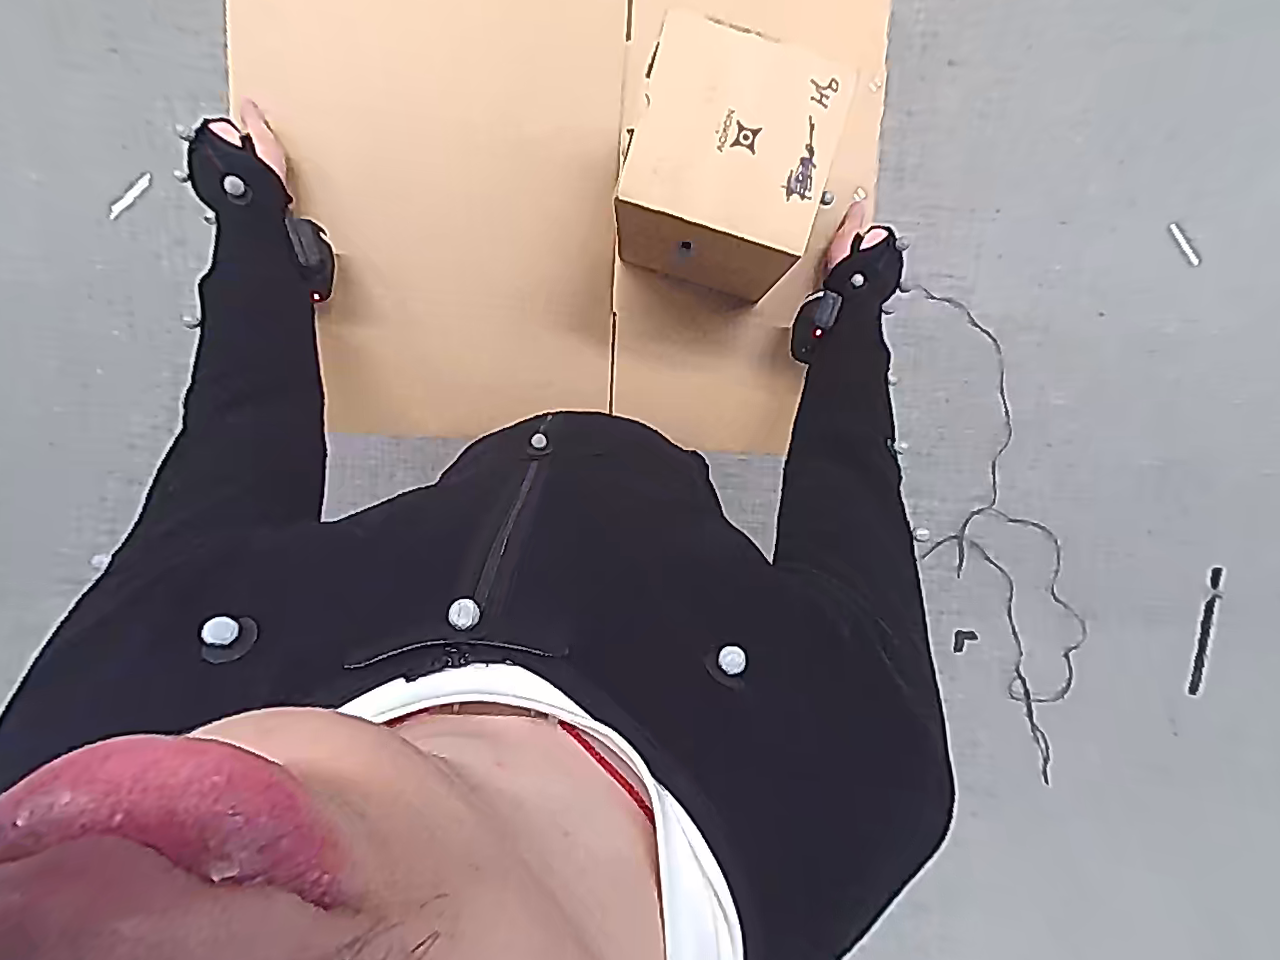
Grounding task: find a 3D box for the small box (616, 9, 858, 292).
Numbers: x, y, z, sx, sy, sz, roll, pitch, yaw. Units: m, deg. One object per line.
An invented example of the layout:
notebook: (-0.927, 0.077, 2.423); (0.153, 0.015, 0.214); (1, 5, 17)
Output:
small box: (0.084, -0.311, 0.552); (0.179, 0.176, 0.168); (17, 95, -1)
